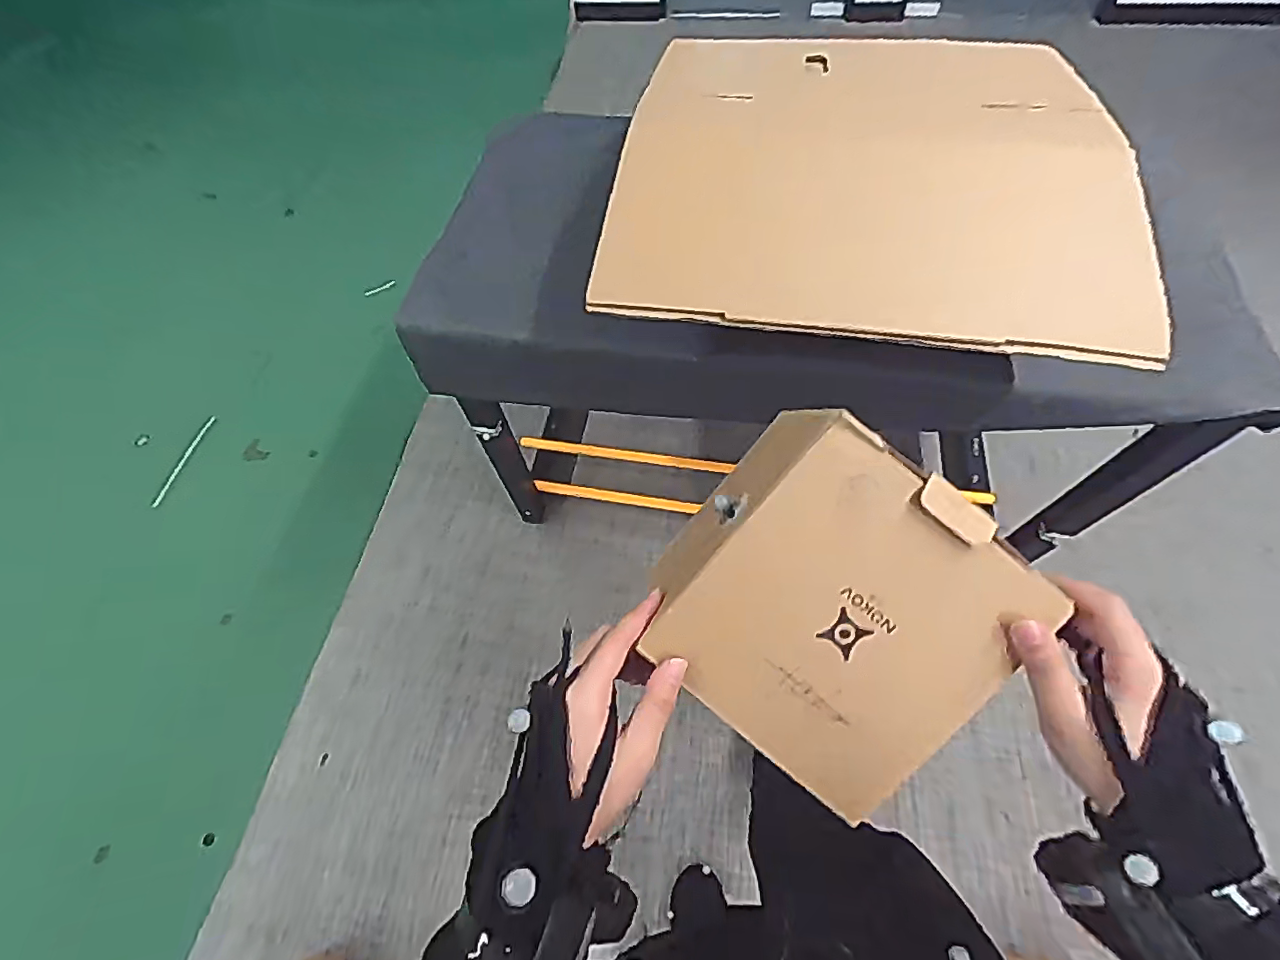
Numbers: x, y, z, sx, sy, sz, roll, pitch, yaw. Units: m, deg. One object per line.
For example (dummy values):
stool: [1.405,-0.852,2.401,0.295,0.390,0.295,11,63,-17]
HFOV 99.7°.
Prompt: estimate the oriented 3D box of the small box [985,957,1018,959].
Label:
small box: [0.690,0.899,0.866,0.168,0.176,0.179,2,60,4]

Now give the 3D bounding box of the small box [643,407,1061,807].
small box: [0.120,0.066,0.381,0.168,0.176,0.179,39,98,0]
